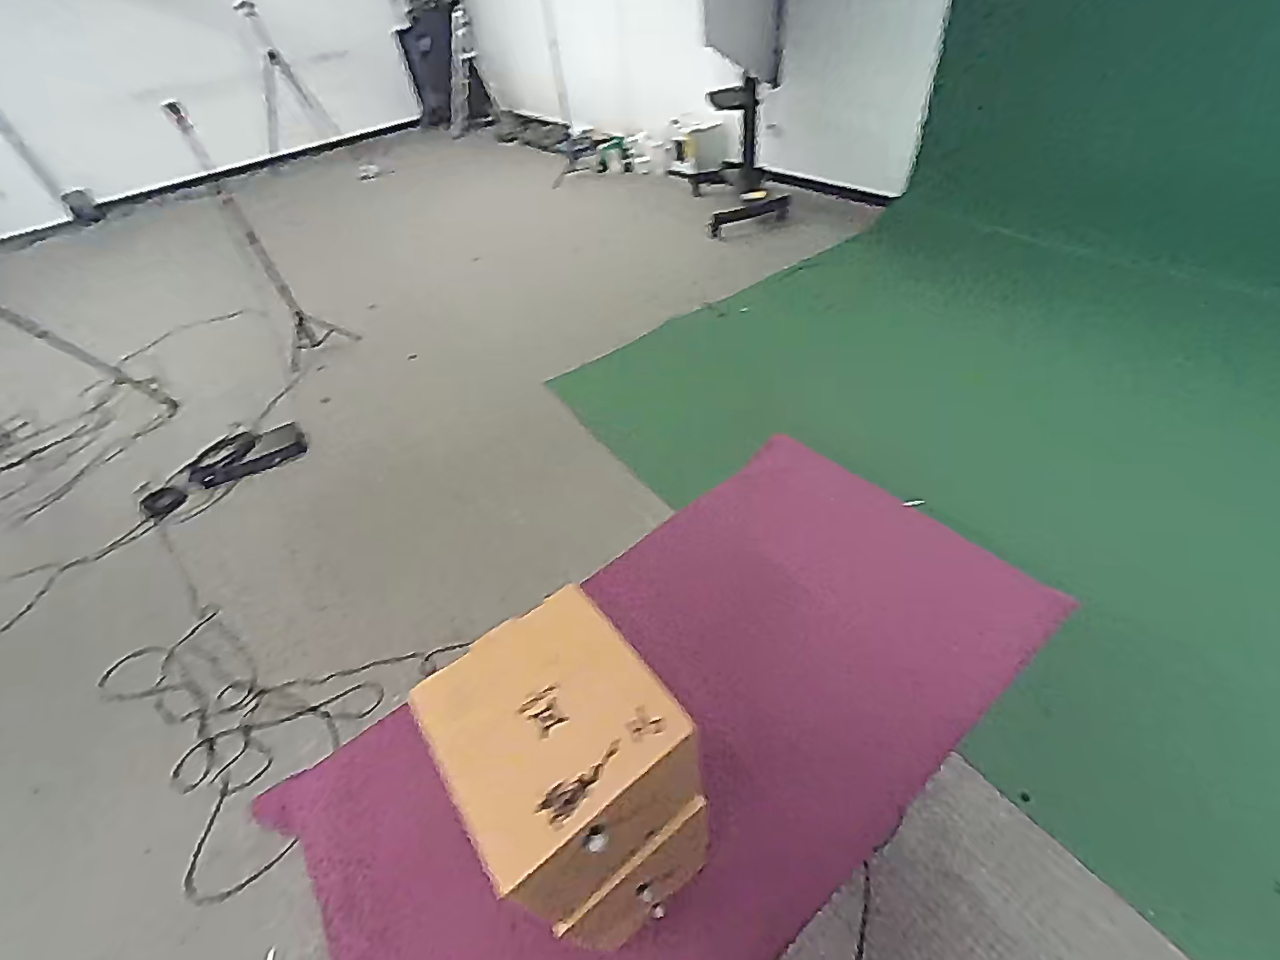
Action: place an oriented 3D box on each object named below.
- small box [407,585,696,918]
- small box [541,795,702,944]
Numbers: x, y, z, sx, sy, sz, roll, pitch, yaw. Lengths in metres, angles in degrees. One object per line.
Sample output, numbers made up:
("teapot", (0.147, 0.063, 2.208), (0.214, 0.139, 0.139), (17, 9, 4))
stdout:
("small box", (-0.068, 0.235, 0.476), (0.168, 0.176, 0.179), (-33, 49, -21))
("small box", (-0.045, 0.355, 0.587), (0.168, 0.176, 0.179), (-31, 49, -21))
